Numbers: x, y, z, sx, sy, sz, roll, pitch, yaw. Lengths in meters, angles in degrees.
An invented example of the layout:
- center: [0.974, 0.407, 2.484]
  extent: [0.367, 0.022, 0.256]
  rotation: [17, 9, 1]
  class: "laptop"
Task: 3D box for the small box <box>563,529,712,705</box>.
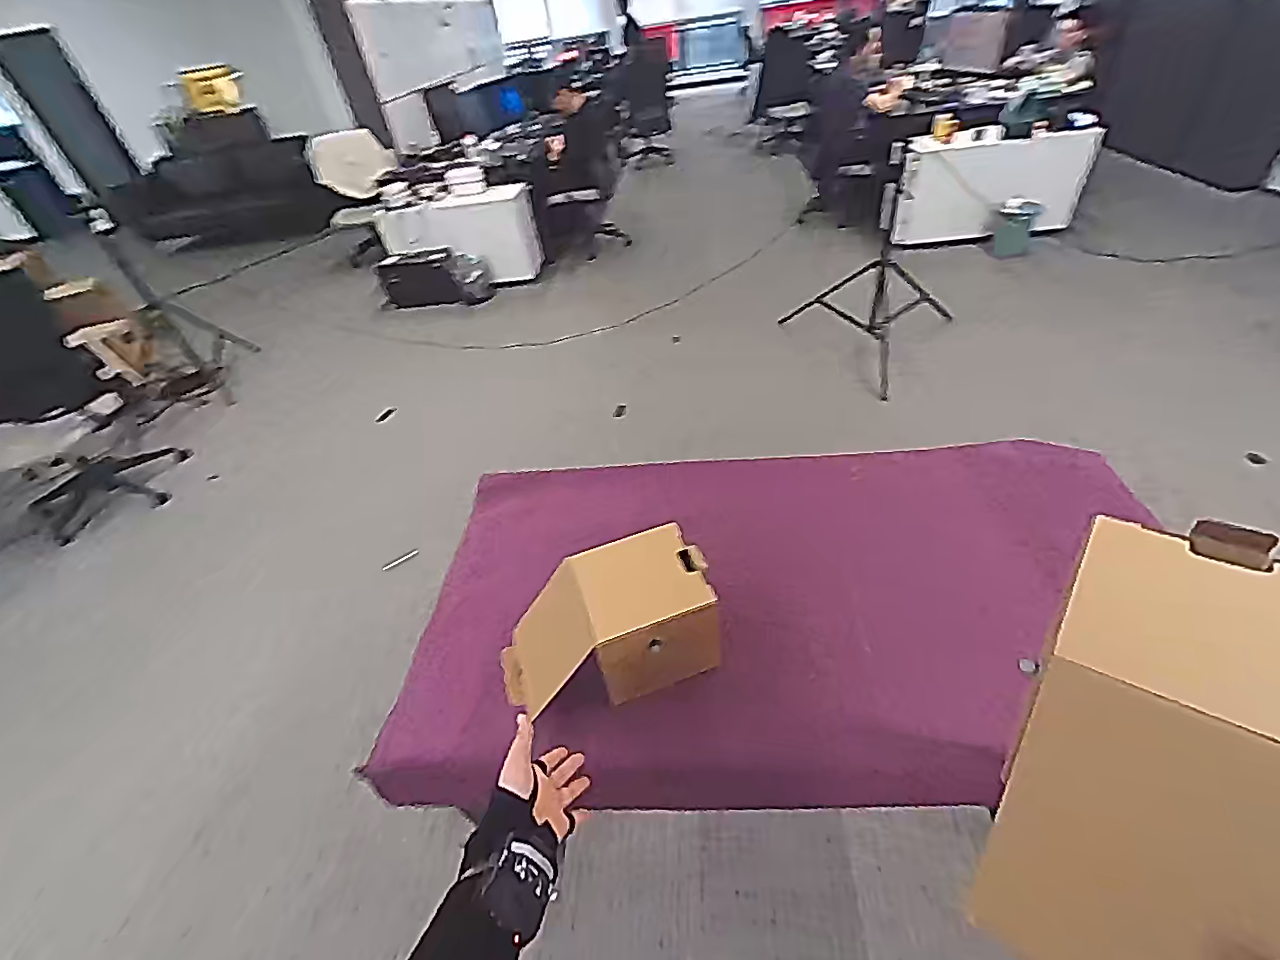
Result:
- center: [-0.001, 0.209, 0.822]
  extent: [0.179, 0.176, 0.168]
  rotation: [-17, 42, -10]
  class: "small box"
